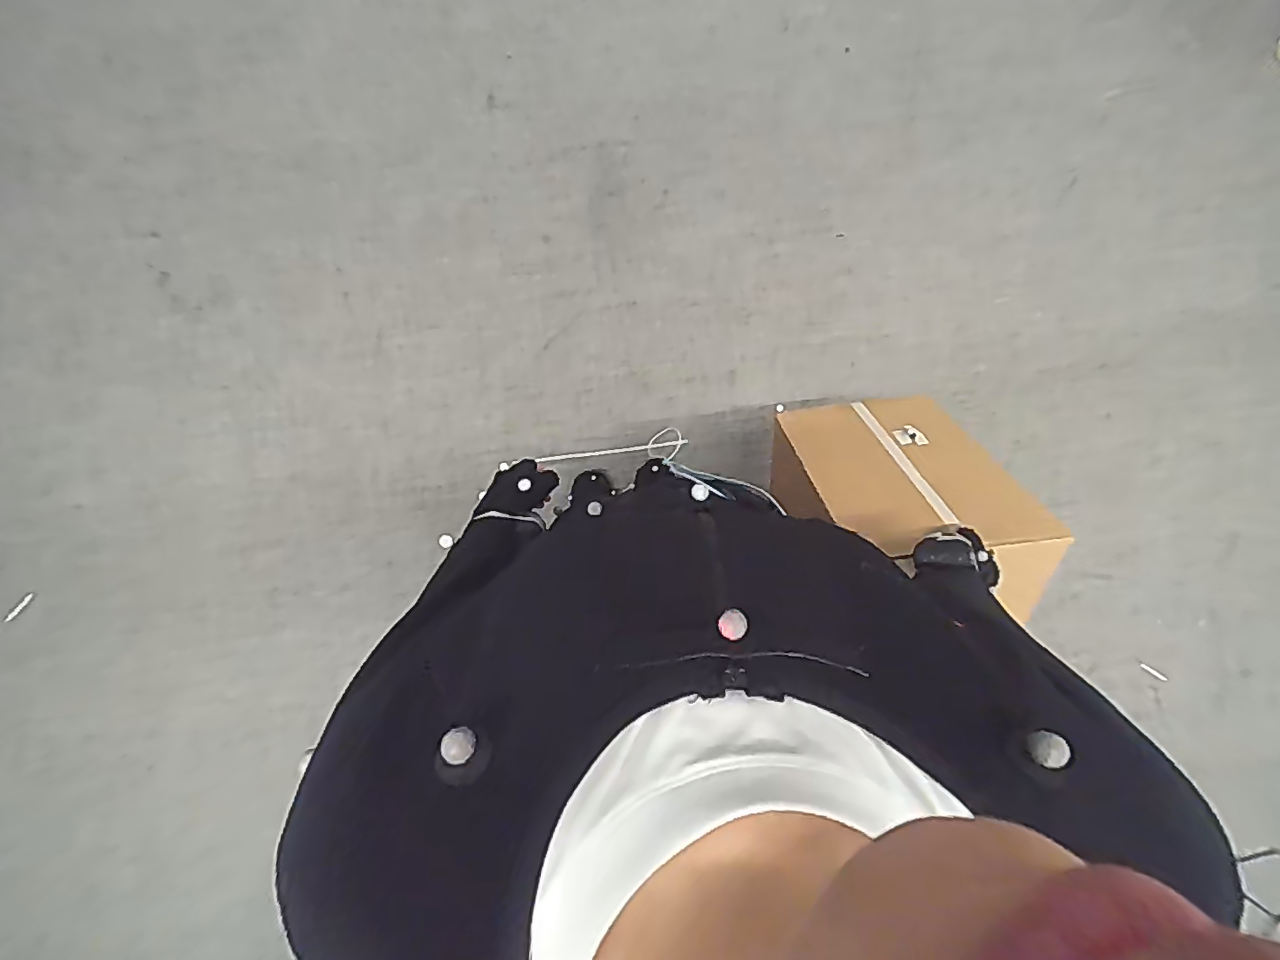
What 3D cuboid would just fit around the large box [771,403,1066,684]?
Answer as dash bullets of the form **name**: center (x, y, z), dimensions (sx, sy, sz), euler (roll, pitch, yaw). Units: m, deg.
- **large box**: center (0.453, 0.102, 1.006), dimensions (0.320, 0.408, 0.320), euler (-7, 127, -1)
